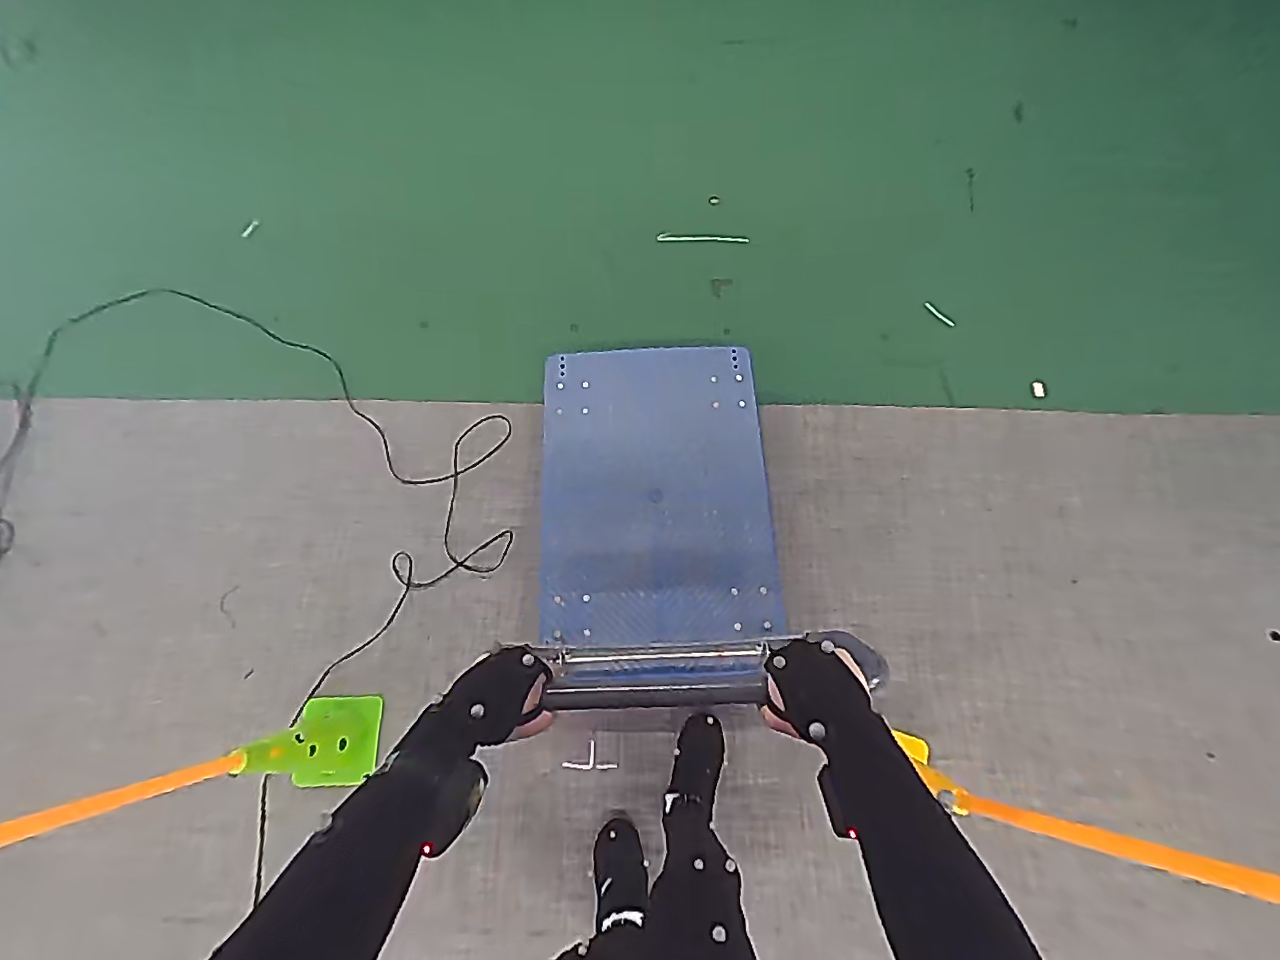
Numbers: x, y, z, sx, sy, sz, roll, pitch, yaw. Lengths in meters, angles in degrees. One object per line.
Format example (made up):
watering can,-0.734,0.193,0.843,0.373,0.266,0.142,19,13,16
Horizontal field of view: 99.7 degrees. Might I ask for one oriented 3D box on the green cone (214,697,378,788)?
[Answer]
green cone,-0.759,0.584,1.171,0.202,0.368,0.200,-3,69,2
